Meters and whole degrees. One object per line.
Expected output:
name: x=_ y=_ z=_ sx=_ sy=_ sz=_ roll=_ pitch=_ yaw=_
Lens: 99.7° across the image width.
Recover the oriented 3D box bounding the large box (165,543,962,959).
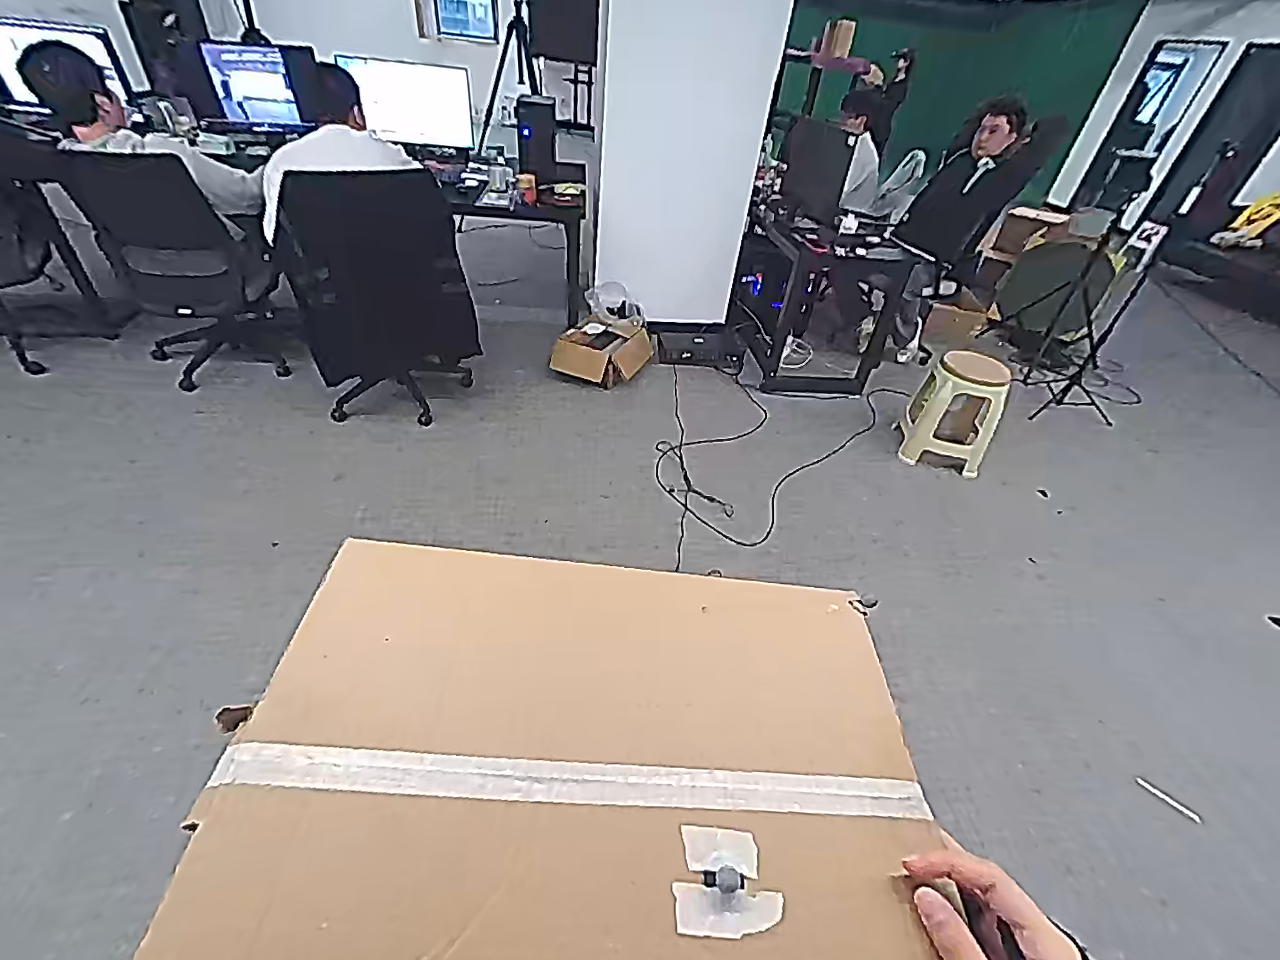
large box: x=-0.047 y=0.283 z=0.432 sx=0.408 sy=0.320 sz=0.320 roll=8 pitch=45 yaw=-7
